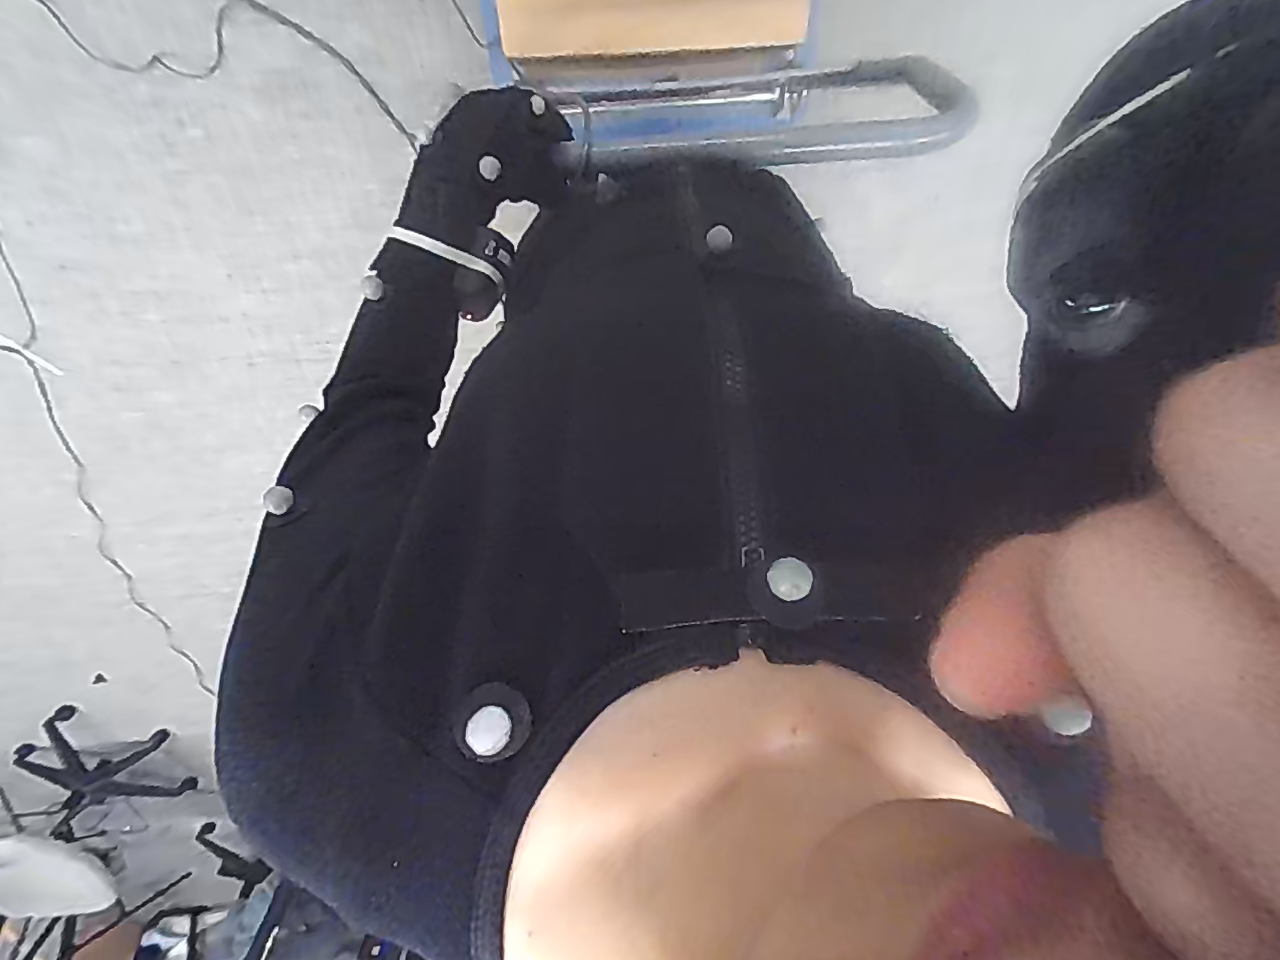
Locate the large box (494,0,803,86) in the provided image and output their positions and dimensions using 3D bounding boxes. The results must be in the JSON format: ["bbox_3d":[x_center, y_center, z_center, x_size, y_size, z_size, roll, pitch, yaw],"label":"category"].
[{"bbox_3d":[-0.003,-0.773,0.764,0.408,0.320,0.320,-4,123,-1],"label":"large box"}]
